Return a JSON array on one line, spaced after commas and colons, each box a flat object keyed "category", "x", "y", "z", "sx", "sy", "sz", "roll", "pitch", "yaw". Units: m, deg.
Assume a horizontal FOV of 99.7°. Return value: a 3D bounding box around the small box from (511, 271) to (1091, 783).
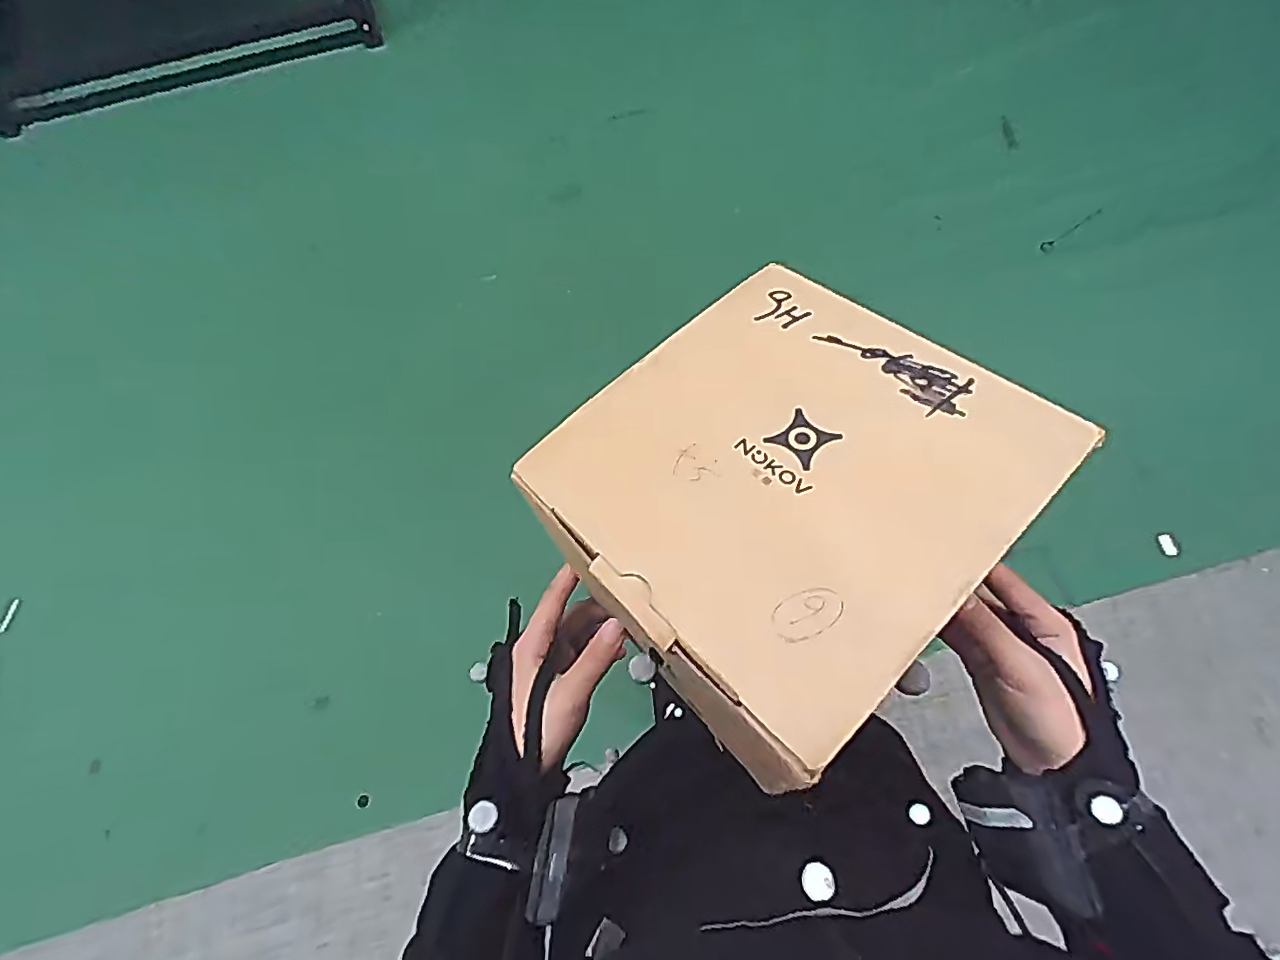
[{"category": "small box", "x": 0.070, "y": 0.033, "z": 0.289, "sx": 0.179, "sy": 0.176, "sz": 0.168, "roll": -41, "pitch": 61, "yaw": -14}]
